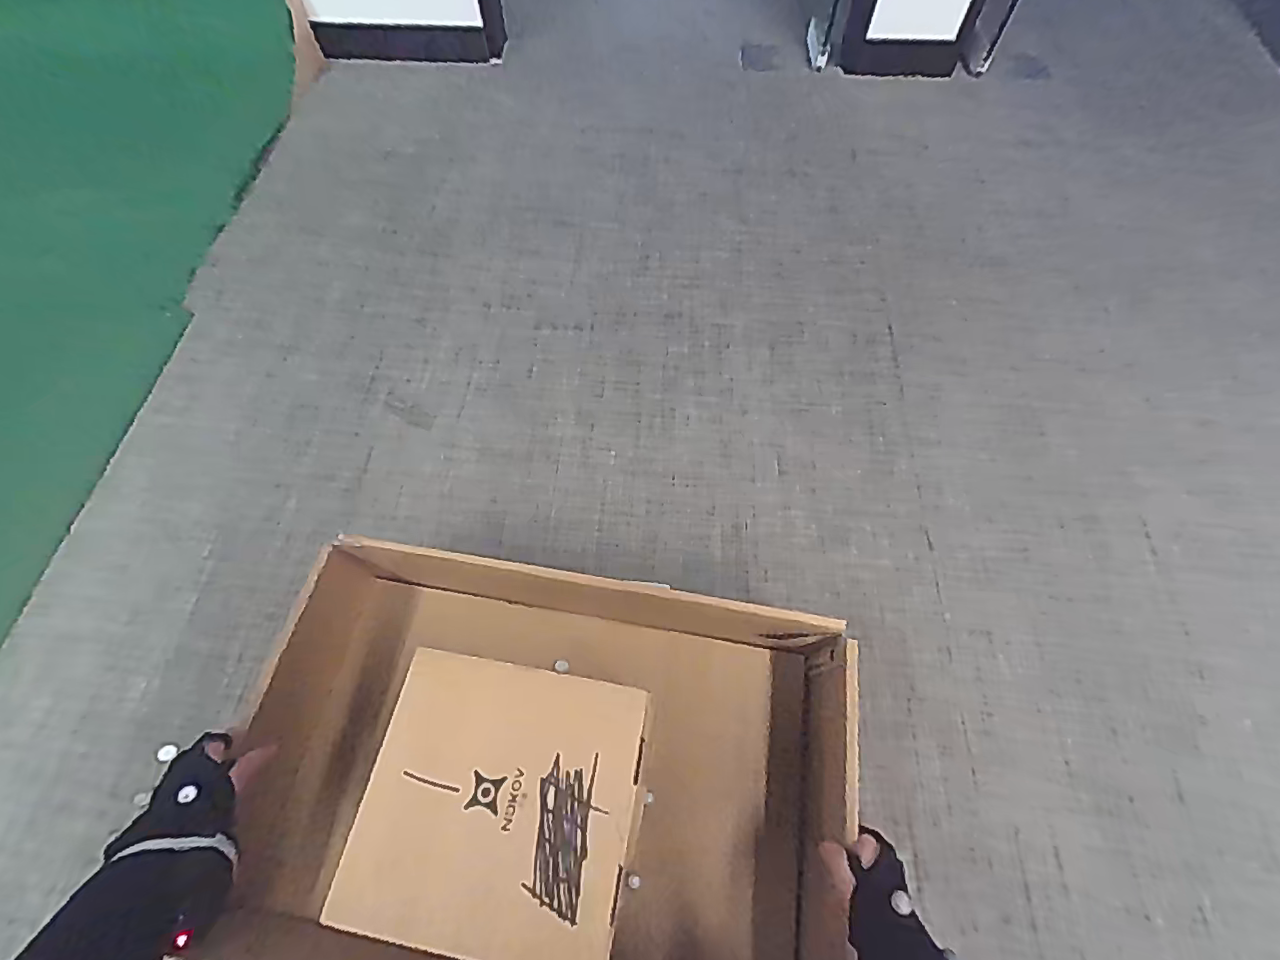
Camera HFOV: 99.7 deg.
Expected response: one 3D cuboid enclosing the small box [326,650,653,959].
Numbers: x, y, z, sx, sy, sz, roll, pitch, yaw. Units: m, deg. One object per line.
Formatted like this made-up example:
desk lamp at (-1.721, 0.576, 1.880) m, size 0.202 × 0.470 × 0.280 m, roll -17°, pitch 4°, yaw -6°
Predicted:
small box at (-0.088, 0.244, 0.422) m, size 0.179 × 0.176 × 0.168 m, roll 9°, pitch 63°, yaw 7°
